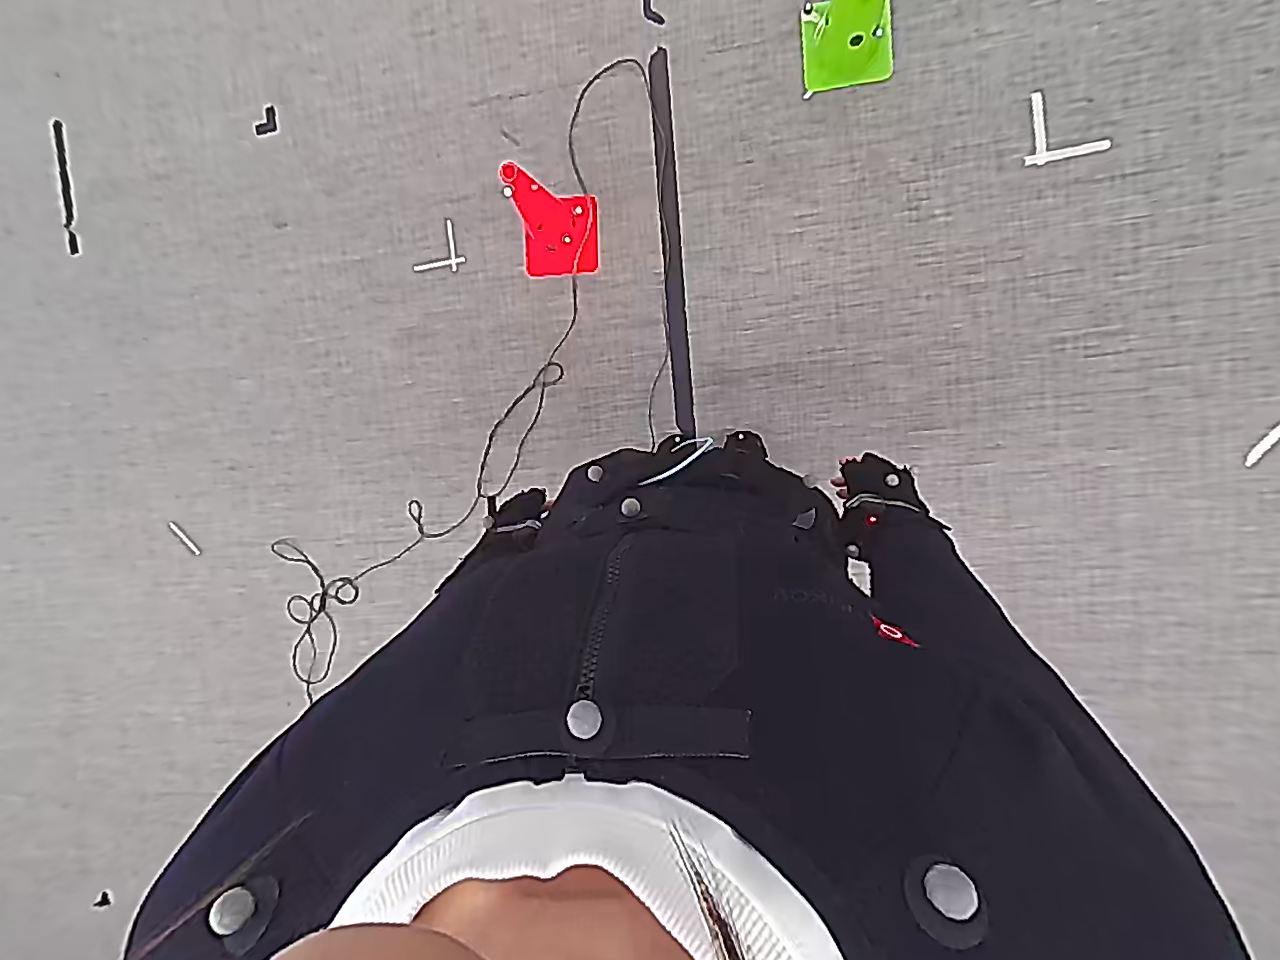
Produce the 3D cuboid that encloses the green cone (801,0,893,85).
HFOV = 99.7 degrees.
[{"bbox_3d":[0.461,-1.027,1.099,0.202,0.368,0.200,-4,94,8],"label":"green cone"}]

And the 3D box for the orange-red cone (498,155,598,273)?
[{"bbox_3d":[-0.239,-0.637,1.249,0.199,0.360,0.198,0,93,10],"label":"orange-red cone"}]
